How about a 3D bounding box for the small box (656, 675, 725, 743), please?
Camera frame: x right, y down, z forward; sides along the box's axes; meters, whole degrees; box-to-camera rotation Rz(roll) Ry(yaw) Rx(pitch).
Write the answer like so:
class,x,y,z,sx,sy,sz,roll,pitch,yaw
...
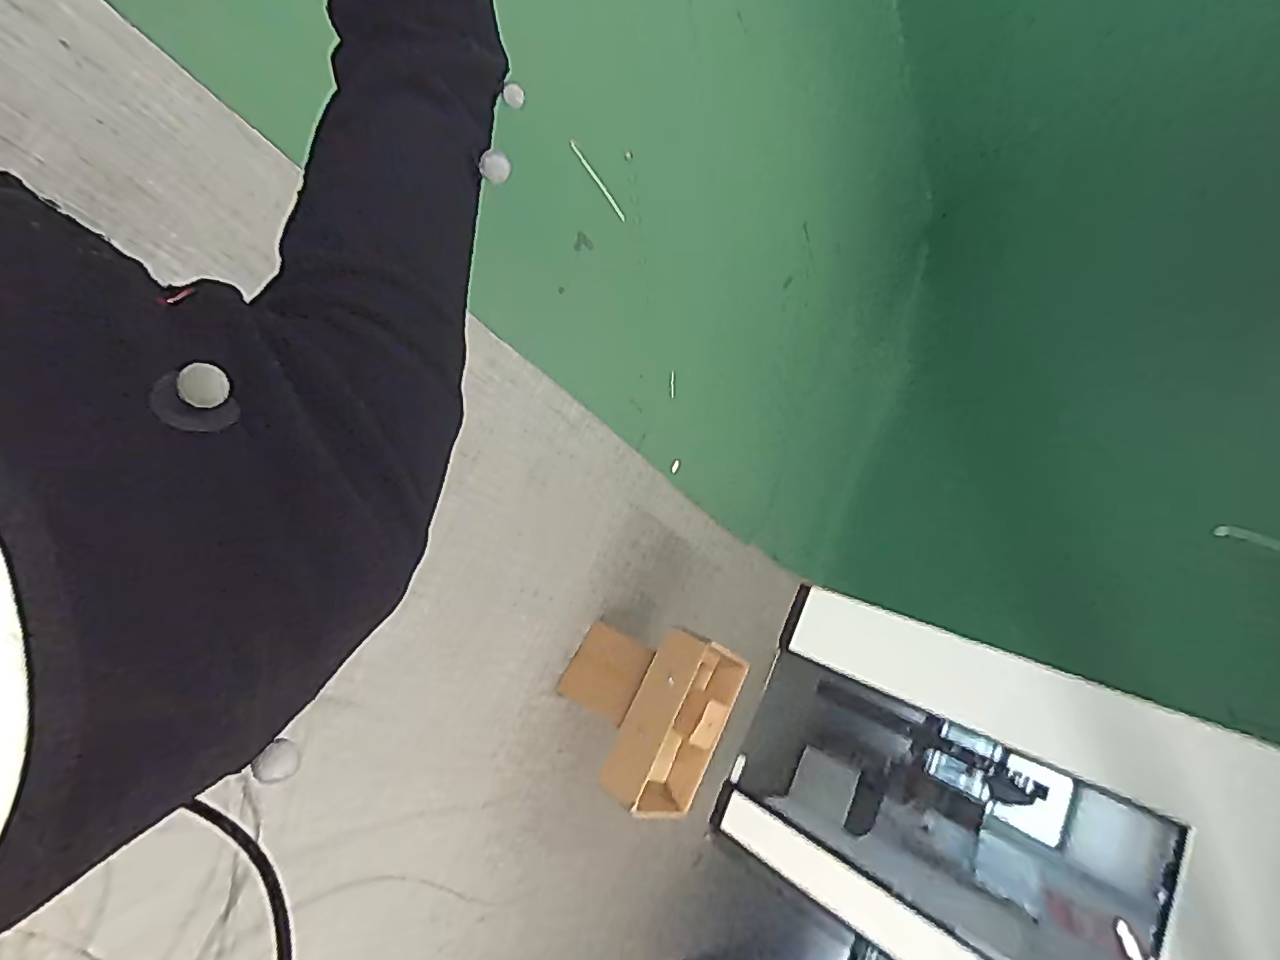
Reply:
class,x,y,z,sx,sy,sz,roll,pitch,yaw
small box,0.187,0.860,2.038,0.168,0.176,0.179,-60,140,-13
